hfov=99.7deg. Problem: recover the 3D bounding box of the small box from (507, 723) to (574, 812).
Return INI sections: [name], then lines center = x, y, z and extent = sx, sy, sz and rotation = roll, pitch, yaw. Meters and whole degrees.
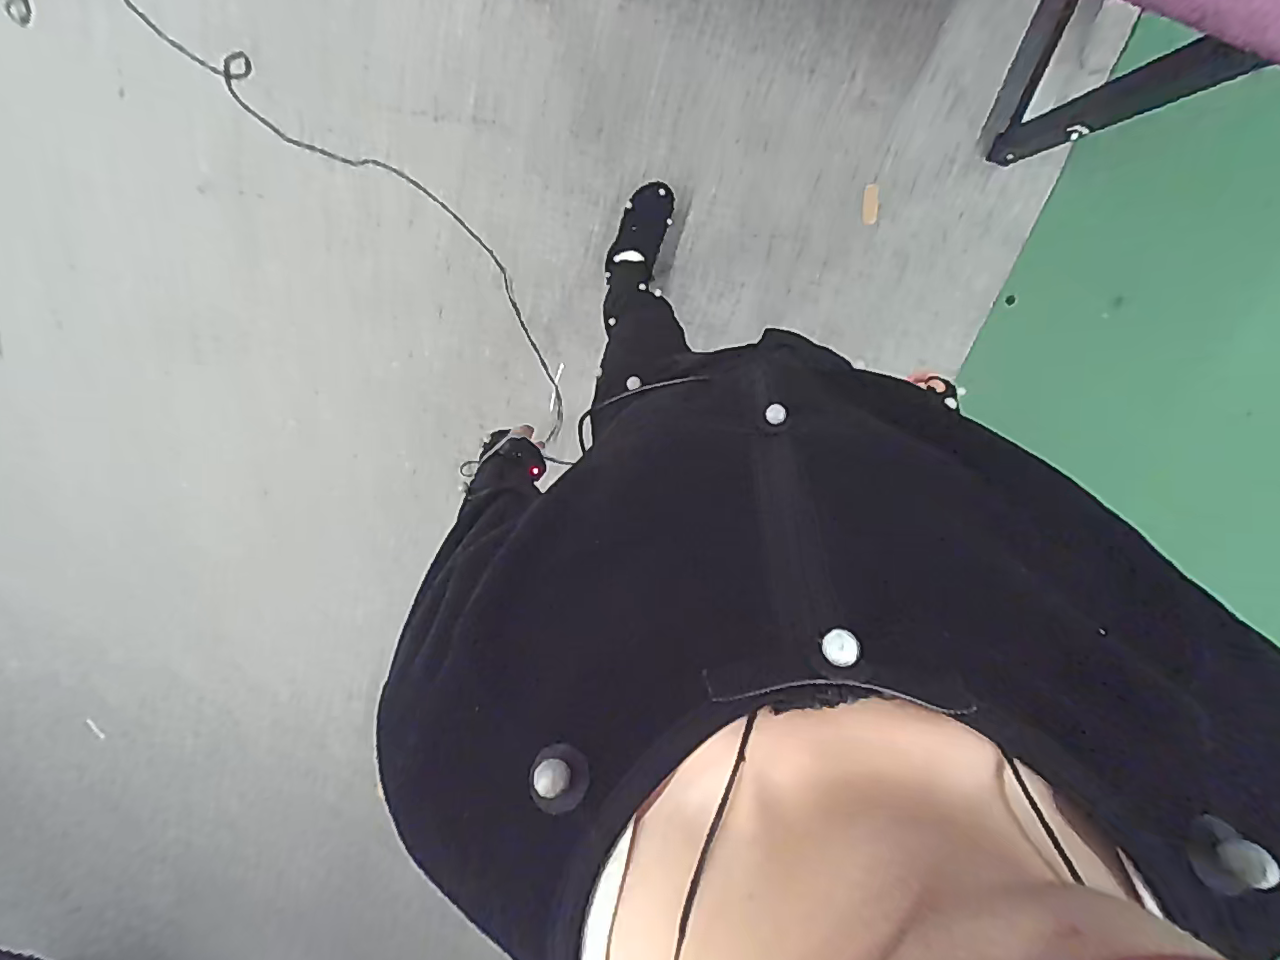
[small box]
center = -0.318, 0.931, 1.763
extent = 0.168, 0.176, 0.179
rotation = 15, 110, -2
